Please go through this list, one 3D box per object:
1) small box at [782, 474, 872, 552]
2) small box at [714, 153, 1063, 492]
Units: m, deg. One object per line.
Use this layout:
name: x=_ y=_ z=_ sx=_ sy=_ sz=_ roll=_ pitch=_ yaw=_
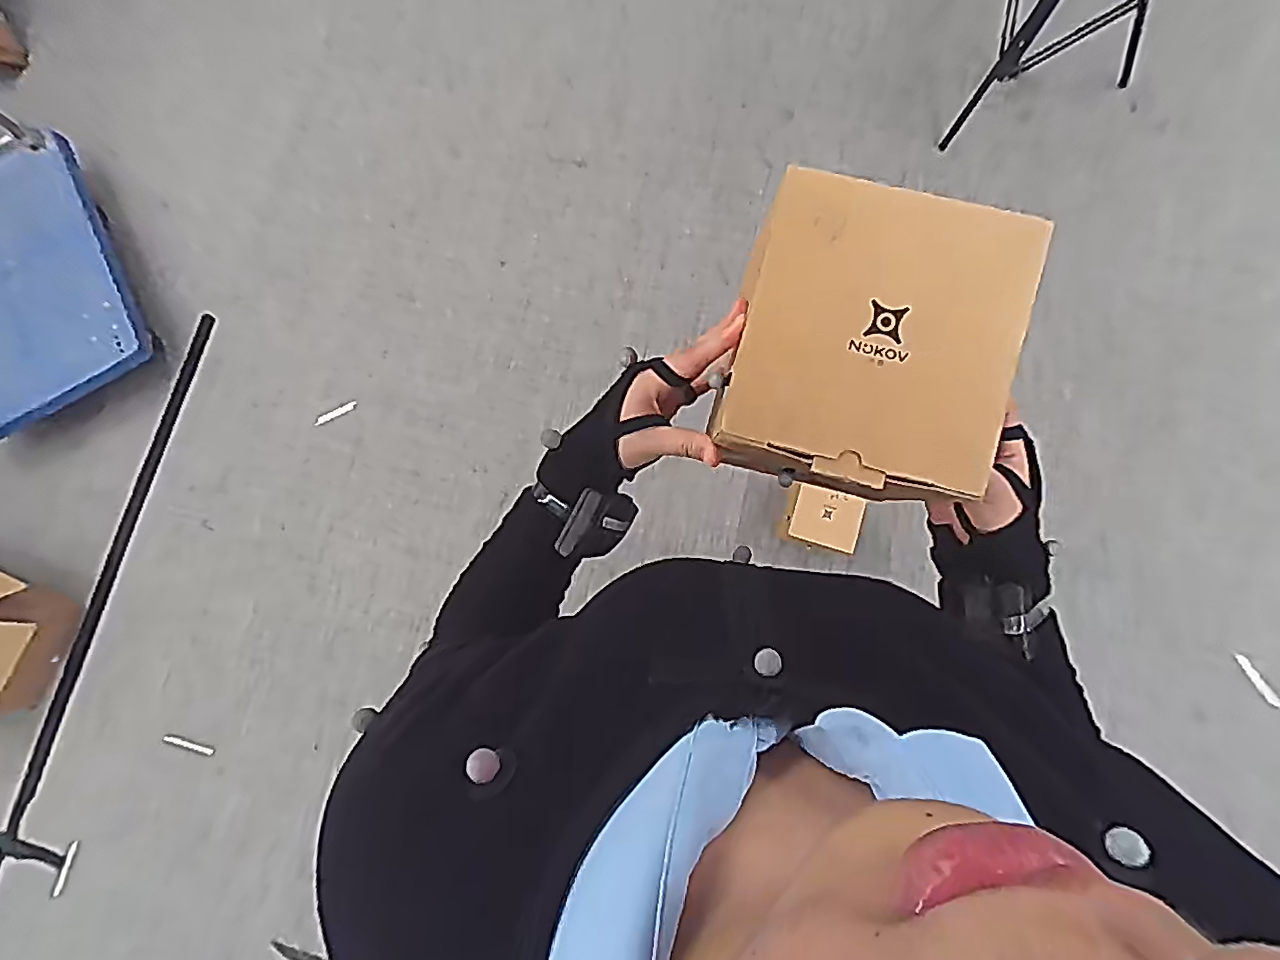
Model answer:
small box: x=0.482 y=0.086 z=1.421 sx=0.168 sy=0.176 sz=0.179 roll=17 pitch=82 yaw=6
small box: x=0.156 y=-0.094 z=0.402 sx=0.168 sy=0.176 sz=0.179 roll=14 pitch=90 yaw=3
